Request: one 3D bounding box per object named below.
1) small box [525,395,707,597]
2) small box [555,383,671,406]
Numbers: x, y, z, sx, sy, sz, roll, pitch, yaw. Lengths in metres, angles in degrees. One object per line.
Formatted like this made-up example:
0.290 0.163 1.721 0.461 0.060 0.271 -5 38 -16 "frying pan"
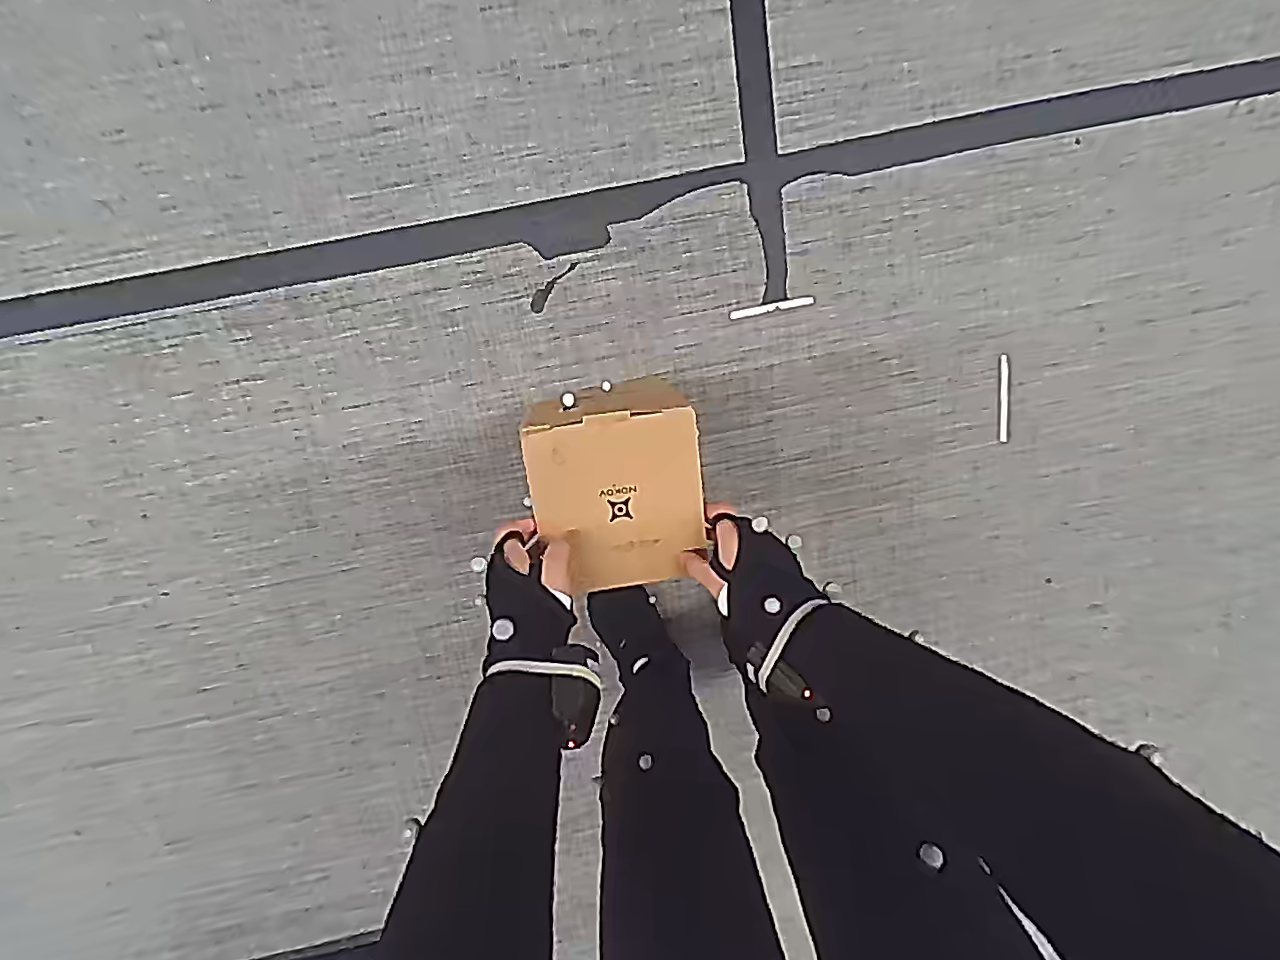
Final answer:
-0.027 0.005 0.606 0.168 0.176 0.179 -8 108 -3 "small box"
-0.039 -0.045 0.807 0.179 0.176 0.168 -12 105 -1 "small box"
